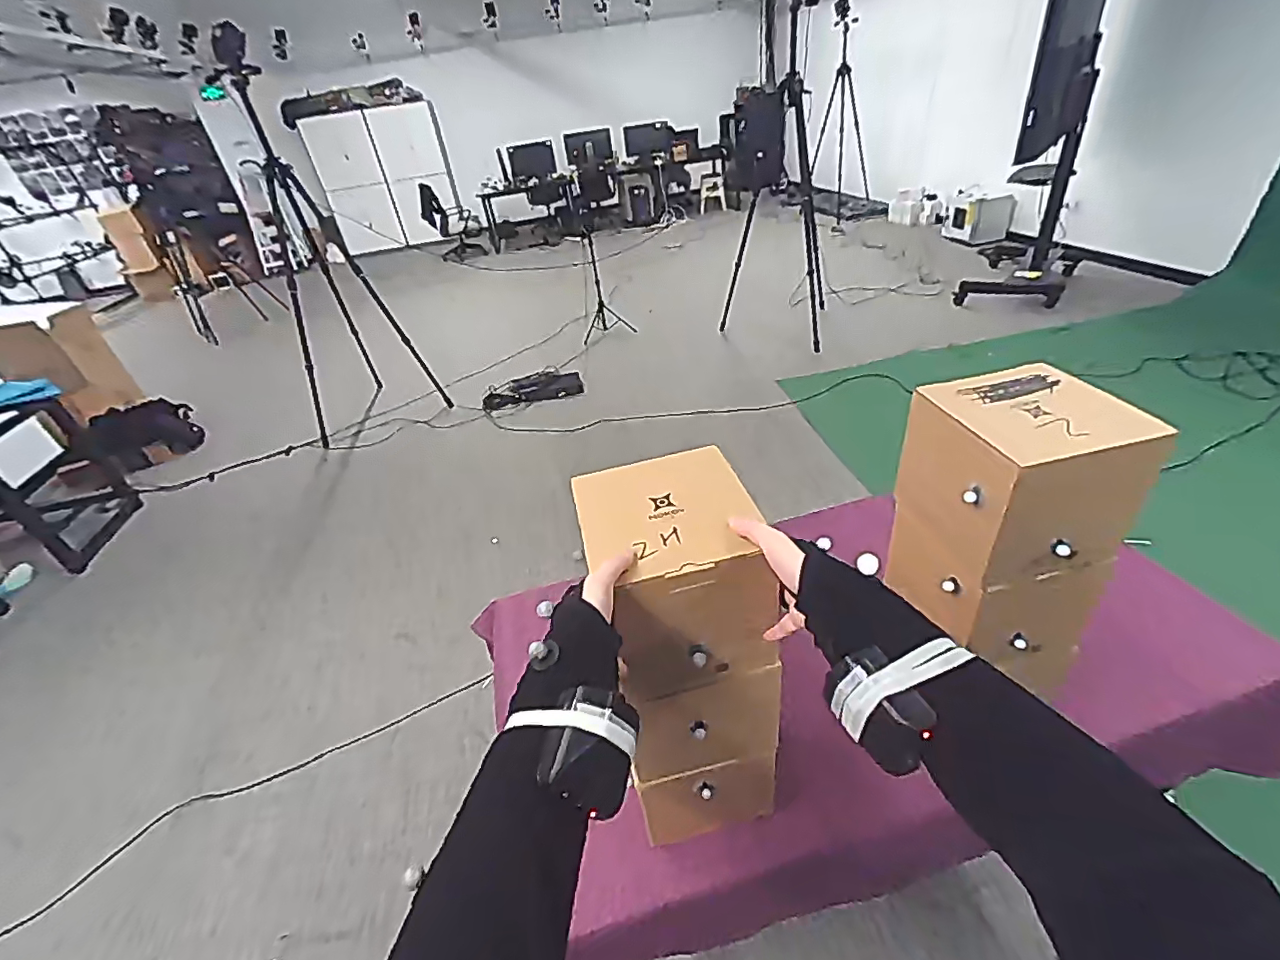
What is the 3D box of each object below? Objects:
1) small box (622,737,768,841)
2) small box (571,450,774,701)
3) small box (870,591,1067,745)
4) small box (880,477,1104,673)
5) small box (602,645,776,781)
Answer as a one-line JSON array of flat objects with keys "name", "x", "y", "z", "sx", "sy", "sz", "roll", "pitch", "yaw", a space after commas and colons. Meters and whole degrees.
[{"name": "small box", "x": 0.069, "y": 0.367, "z": 0.755, "sx": 0.179, "sy": 0.176, "sz": 0.168, "roll": -12, "pitch": 36, "yaw": -5}, {"name": "small box", "x": 0.029, "y": 0.096, "z": 0.572, "sx": 0.168, "sy": 0.176, "sz": 0.179, "roll": -14, "pitch": 37, "yaw": -6}, {"name": "small box", "x": 0.473, "y": 0.262, "z": 0.811, "sx": 0.179, "sy": 0.176, "sz": 0.168, "roll": -13, "pitch": 34, "yaw": -6}, {"name": "small box", "x": 0.448, "y": 0.124, "z": 0.727, "sx": 0.168, "sy": 0.176, "sz": 0.179, "roll": -13, "pitch": 36, "yaw": -5}, {"name": "small box", "x": 0.053, "y": 0.233, "z": 0.663, "sx": 0.179, "sy": 0.176, "sz": 0.168, "roll": -14, "pitch": 36, "yaw": -4}]
